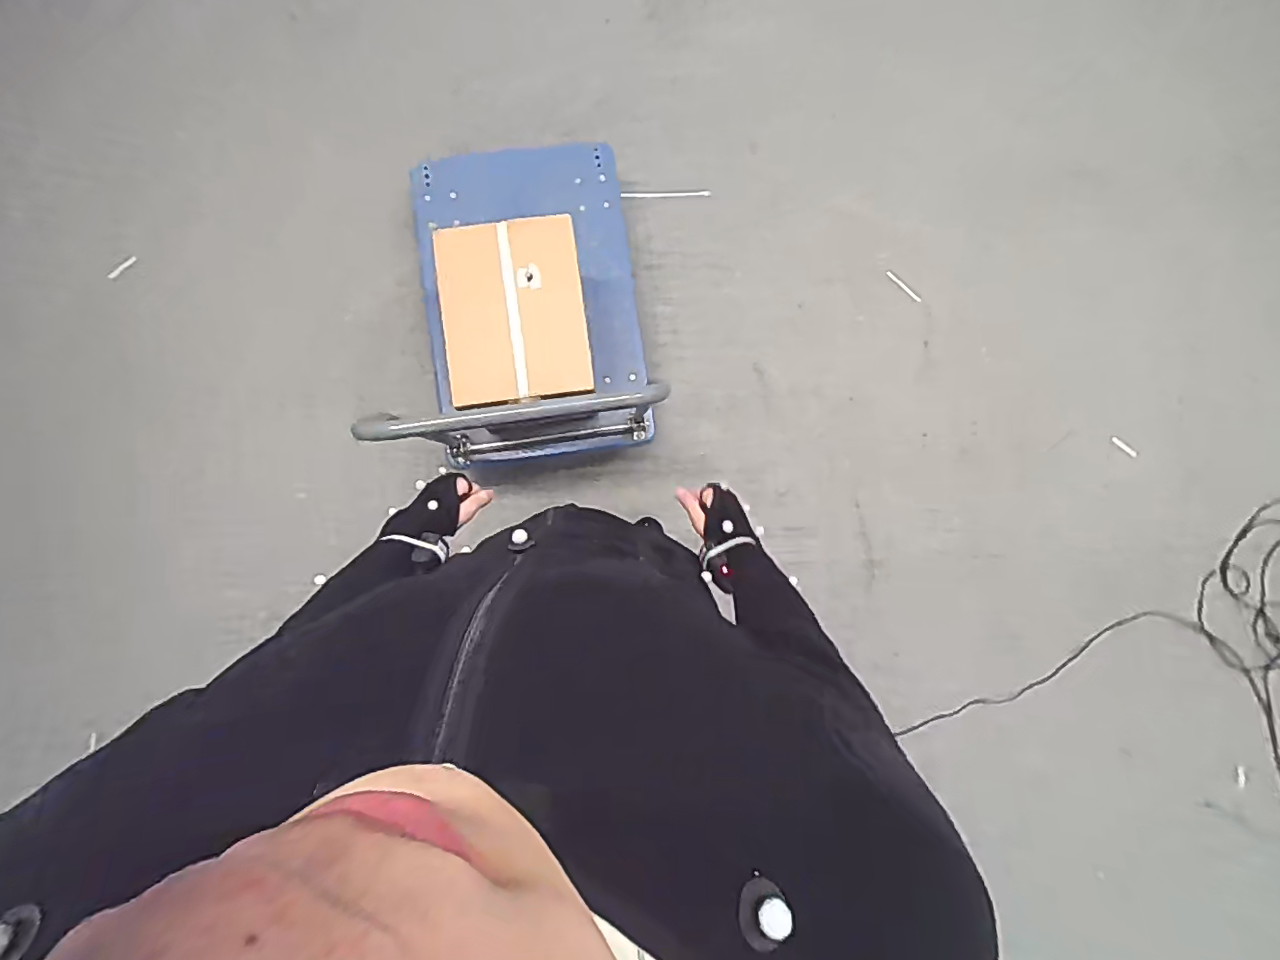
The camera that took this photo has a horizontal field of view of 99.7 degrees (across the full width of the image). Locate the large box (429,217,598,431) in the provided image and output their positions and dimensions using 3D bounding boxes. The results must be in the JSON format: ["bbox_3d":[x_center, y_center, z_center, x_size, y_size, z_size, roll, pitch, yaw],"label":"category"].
[{"bbox_3d":[-0.291,-0.361,1.340,0.320,0.320,0.408,-9,86,-4],"label":"large box"}]
